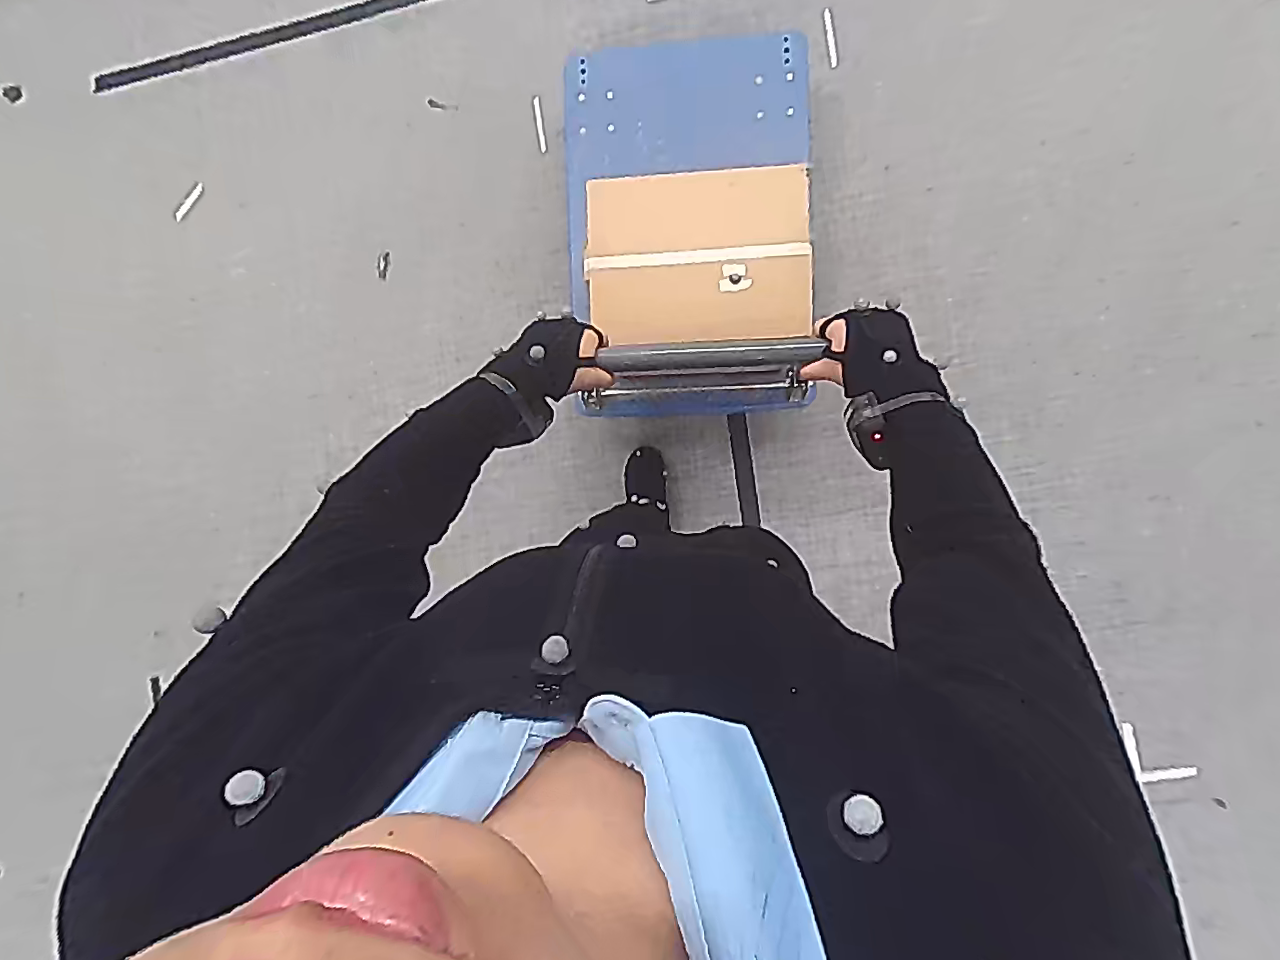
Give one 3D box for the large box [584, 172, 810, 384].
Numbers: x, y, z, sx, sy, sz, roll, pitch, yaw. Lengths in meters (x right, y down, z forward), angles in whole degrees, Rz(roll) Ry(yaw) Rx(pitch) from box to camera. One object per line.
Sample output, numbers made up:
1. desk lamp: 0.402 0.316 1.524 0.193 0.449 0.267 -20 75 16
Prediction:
1. large box: 0.110 -0.392 1.135 0.408 0.320 0.320 -2 91 4
